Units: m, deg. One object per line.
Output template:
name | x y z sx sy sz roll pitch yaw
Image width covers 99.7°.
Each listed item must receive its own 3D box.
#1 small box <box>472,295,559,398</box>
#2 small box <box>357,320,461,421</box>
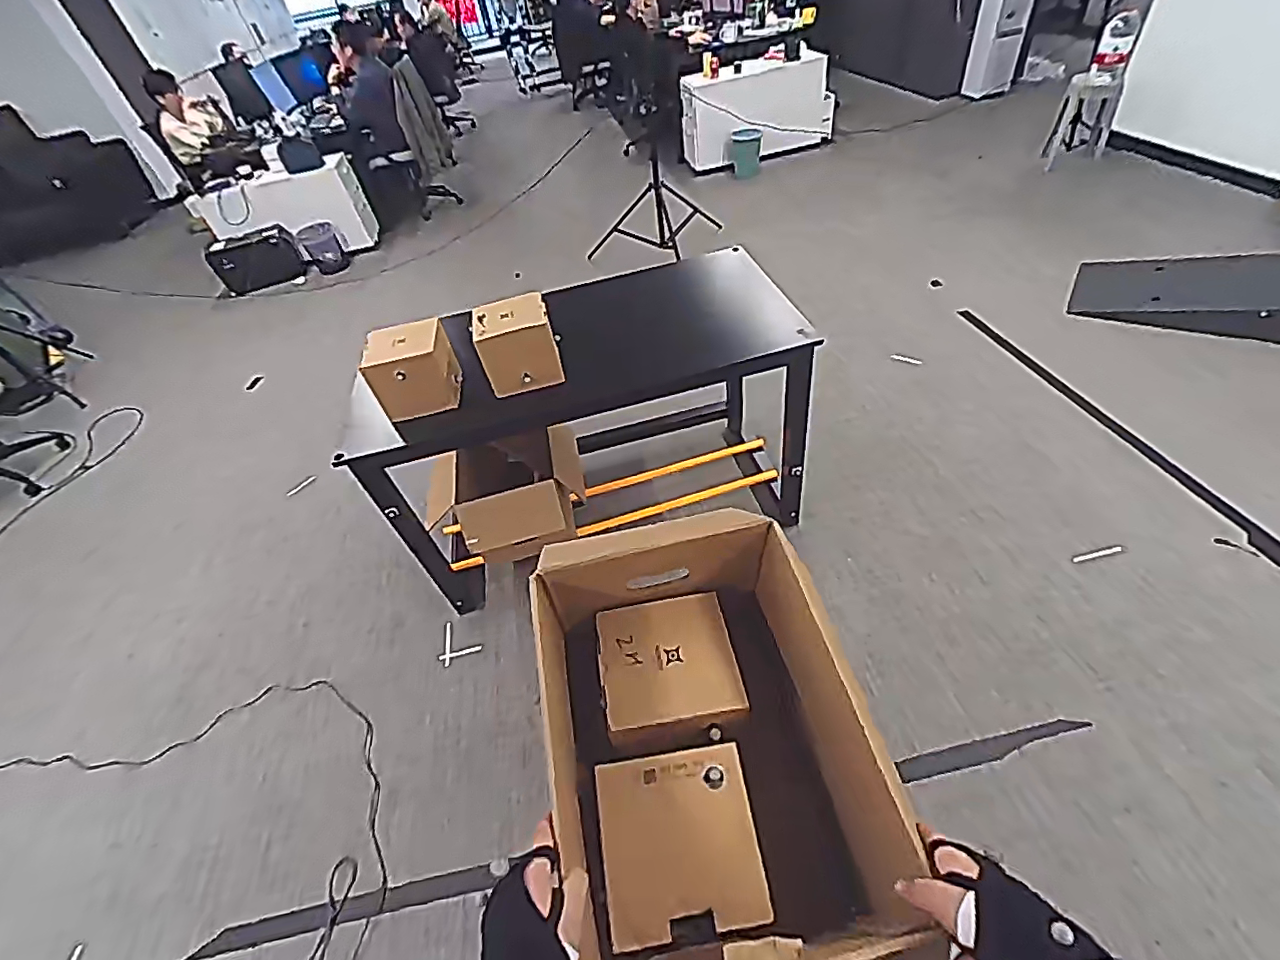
small box | -0.304 -0.329 1.341 0.179 0.176 0.168 -15 45 -4
small box | -0.560 -0.265 1.332 0.179 0.176 0.168 -13 46 -3
